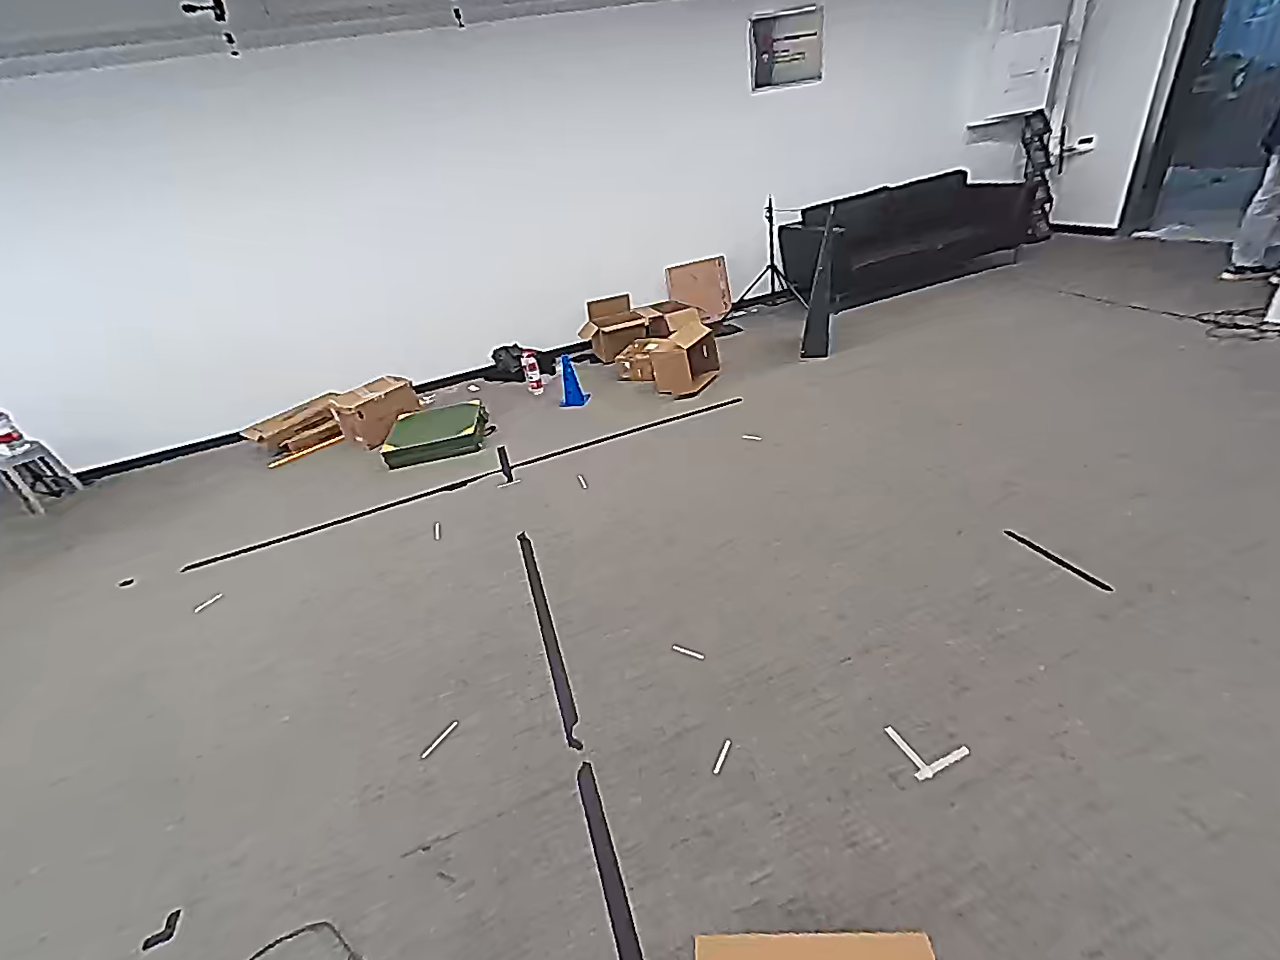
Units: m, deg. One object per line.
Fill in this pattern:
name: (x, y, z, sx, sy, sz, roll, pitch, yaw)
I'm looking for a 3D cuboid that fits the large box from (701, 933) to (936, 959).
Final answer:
large box: (0.327, 1.017, 0.906, 0.408, 0.320, 0.320, -7, 29, 8)
